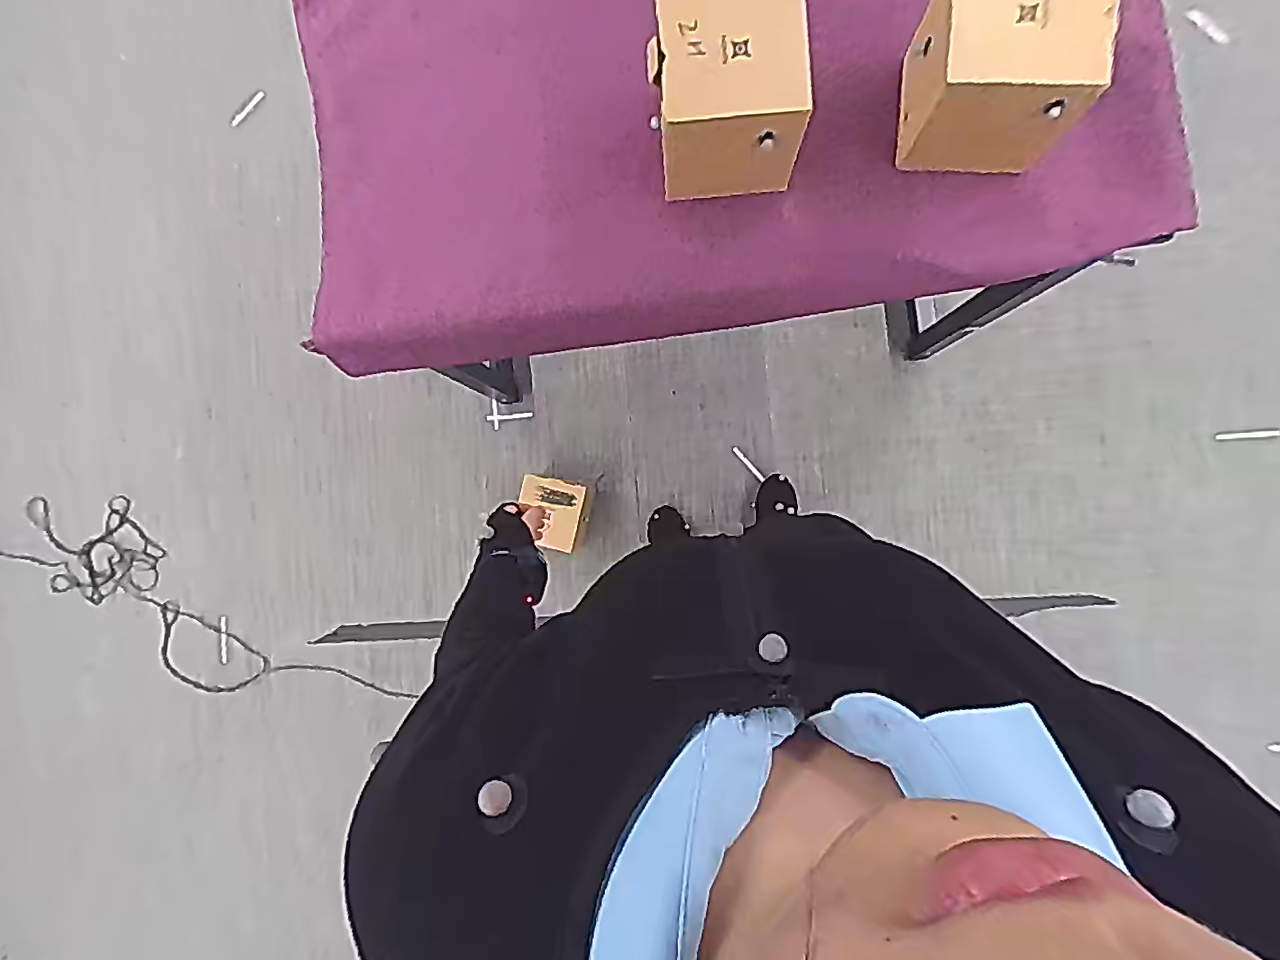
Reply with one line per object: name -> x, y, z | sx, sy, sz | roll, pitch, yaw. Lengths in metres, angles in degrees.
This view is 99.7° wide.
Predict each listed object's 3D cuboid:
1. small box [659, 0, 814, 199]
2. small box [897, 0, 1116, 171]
small box -> 0.117, -0.498, 0.712 | 0.179, 0.176, 0.168 | -3, 87, 5
small box -> 0.446, -0.519, 0.684 | 0.179, 0.176, 0.168 | 4, 89, 5
